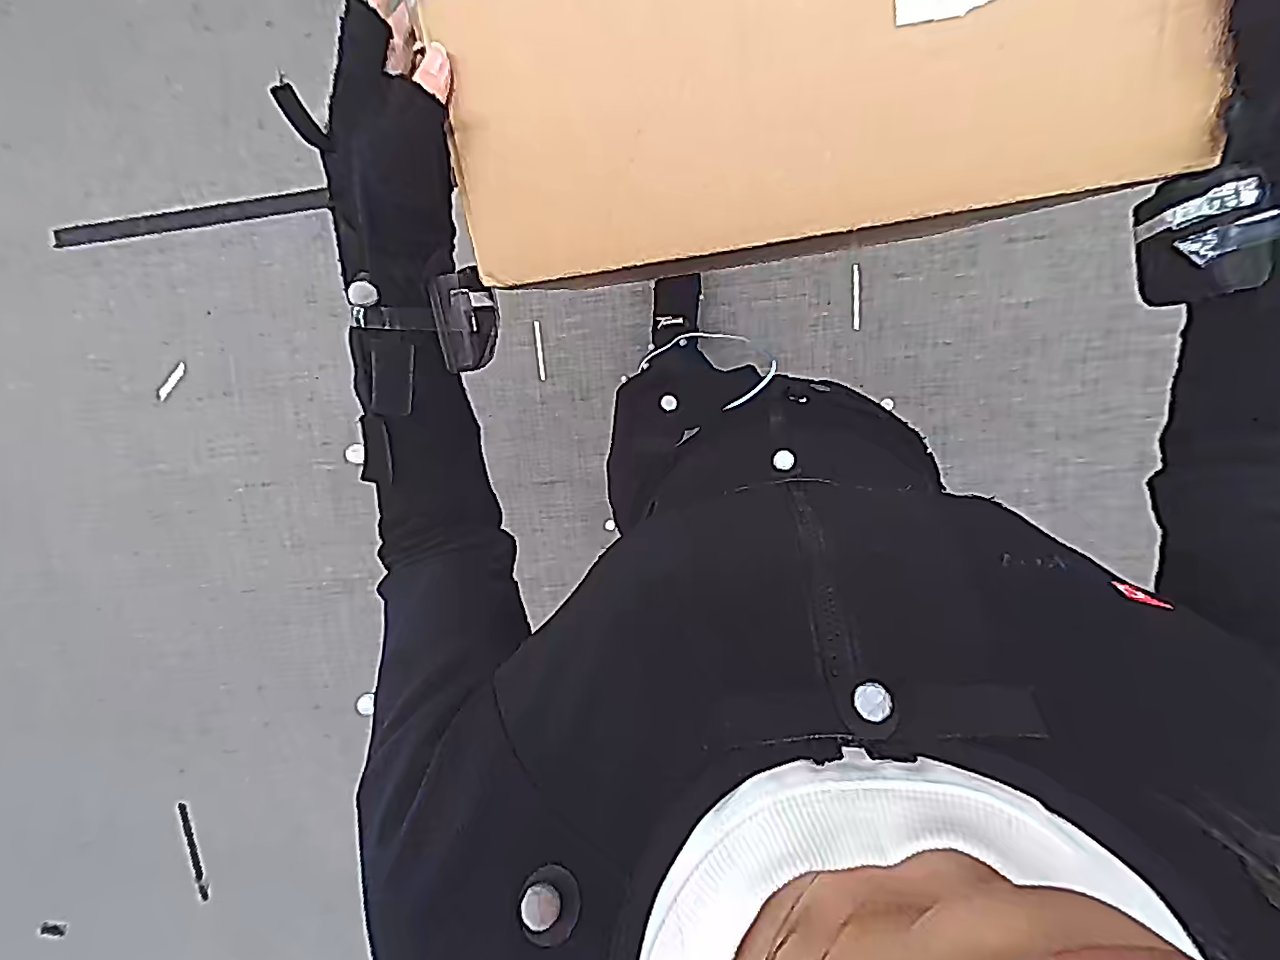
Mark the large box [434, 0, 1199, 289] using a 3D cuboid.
[{"bbox_3d":[0.086,-0.342,0.416,0.408,0.320,0.320,-7,109,6],"label":"large box"}]
